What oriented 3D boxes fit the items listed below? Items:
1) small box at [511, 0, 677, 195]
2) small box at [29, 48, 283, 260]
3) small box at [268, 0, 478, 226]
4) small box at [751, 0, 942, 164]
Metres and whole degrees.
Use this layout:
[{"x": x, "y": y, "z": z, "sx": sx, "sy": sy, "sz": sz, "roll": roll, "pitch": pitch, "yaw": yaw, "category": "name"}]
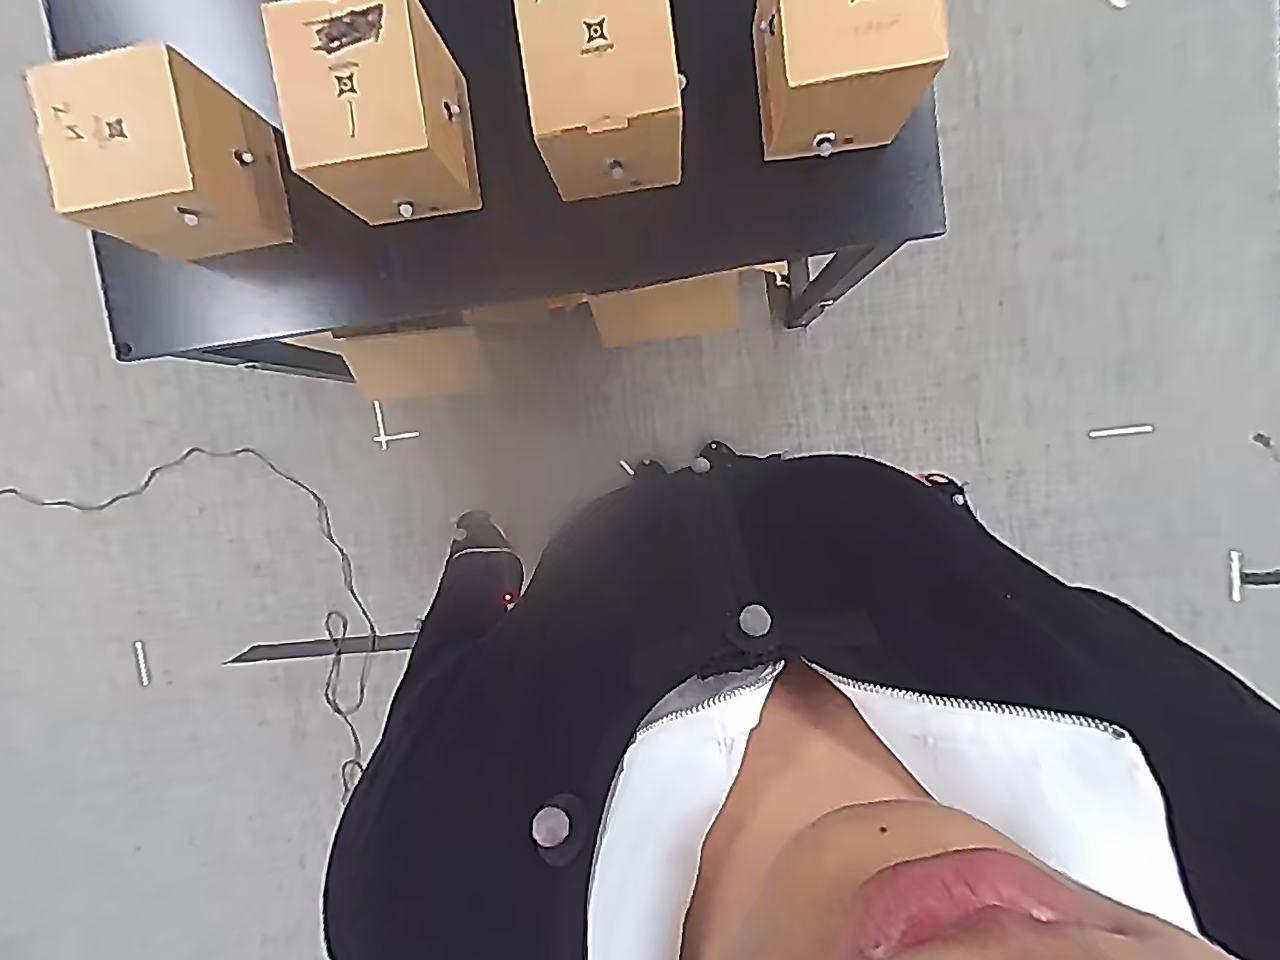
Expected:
[{"x": -0.045, "y": -0.473, "z": 0.661, "sx": 0.168, "sy": 0.176, "sz": 0.179, "roll": -7, "pitch": 94, "yaw": 5, "category": "small box"}, {"x": -0.600, "y": -0.403, "z": 0.700, "sx": 0.179, "sy": 0.176, "sz": 0.168, "roll": -8, "pitch": 94, "yaw": 4, "category": "small box"}, {"x": -0.319, "y": -0.449, "z": 0.680, "sx": 0.168, "sy": 0.176, "sz": 0.179, "roll": -6, "pitch": 95, "yaw": 5, "category": "small box"}, {"x": 0.229, "y": -0.513, "z": 0.639, "sx": 0.168, "sy": 0.176, "sz": 0.179, "roll": -7, "pitch": 95, "yaw": 6, "category": "small box"}]
